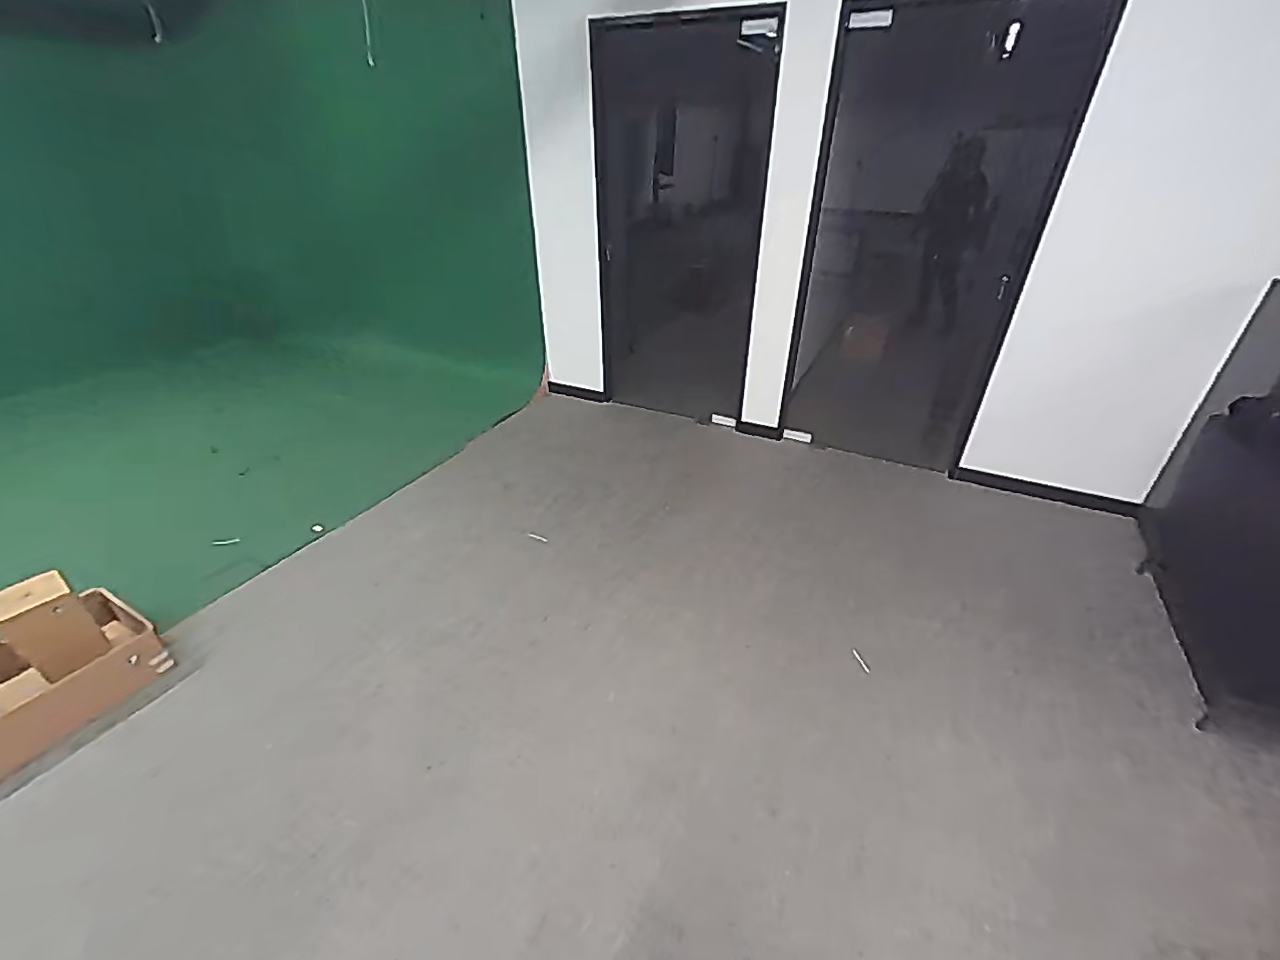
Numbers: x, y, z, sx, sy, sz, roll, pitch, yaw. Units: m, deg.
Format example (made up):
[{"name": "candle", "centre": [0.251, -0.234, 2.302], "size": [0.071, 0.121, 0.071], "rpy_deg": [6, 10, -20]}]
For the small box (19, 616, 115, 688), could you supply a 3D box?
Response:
[{"name": "small box", "centre": [-1.849, 0.528, 1.732], "size": [0.179, 0.176, 0.168], "rpy_deg": [24, 39, 28]}]

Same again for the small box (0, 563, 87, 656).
[{"name": "small box", "centre": [-1.841, 0.391, 1.641], "size": [0.168, 0.176, 0.179], "rpy_deg": [23, 39, 29]}]
